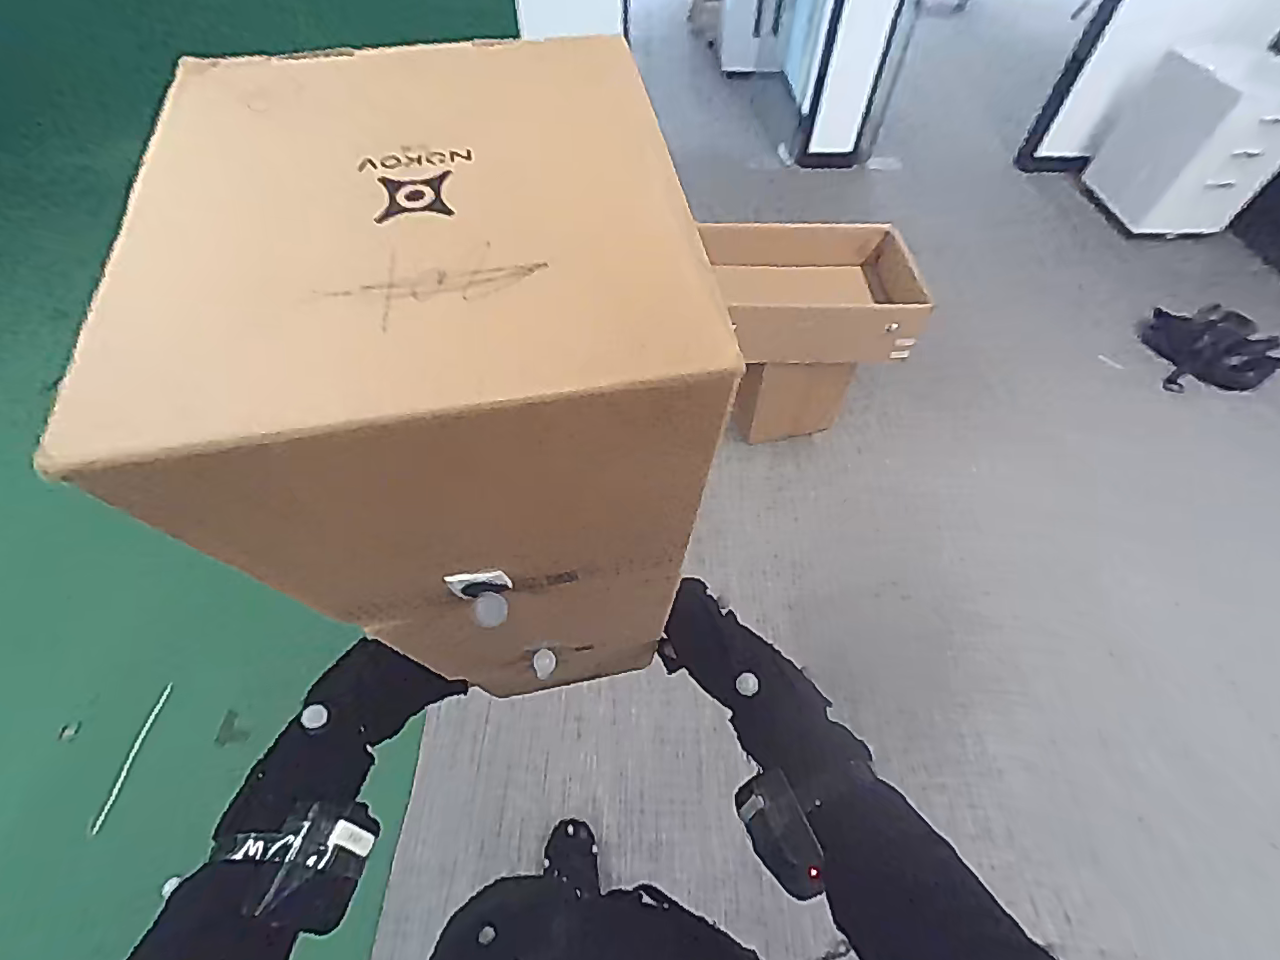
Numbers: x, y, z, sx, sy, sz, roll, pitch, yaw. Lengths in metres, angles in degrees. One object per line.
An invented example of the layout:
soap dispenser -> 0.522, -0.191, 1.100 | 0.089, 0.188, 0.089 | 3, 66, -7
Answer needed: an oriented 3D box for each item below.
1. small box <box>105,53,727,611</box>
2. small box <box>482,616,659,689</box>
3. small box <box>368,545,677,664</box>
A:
small box -> -0.072, -0.056, 0.253 | 0.168, 0.176, 0.179 | -10, 64, -6
small box -> -0.082, 0.093, 0.542 | 0.168, 0.176, 0.179 | -9, 62, -7
small box -> -0.078, 0.019, 0.395 | 0.168, 0.176, 0.179 | -9, 63, -7
